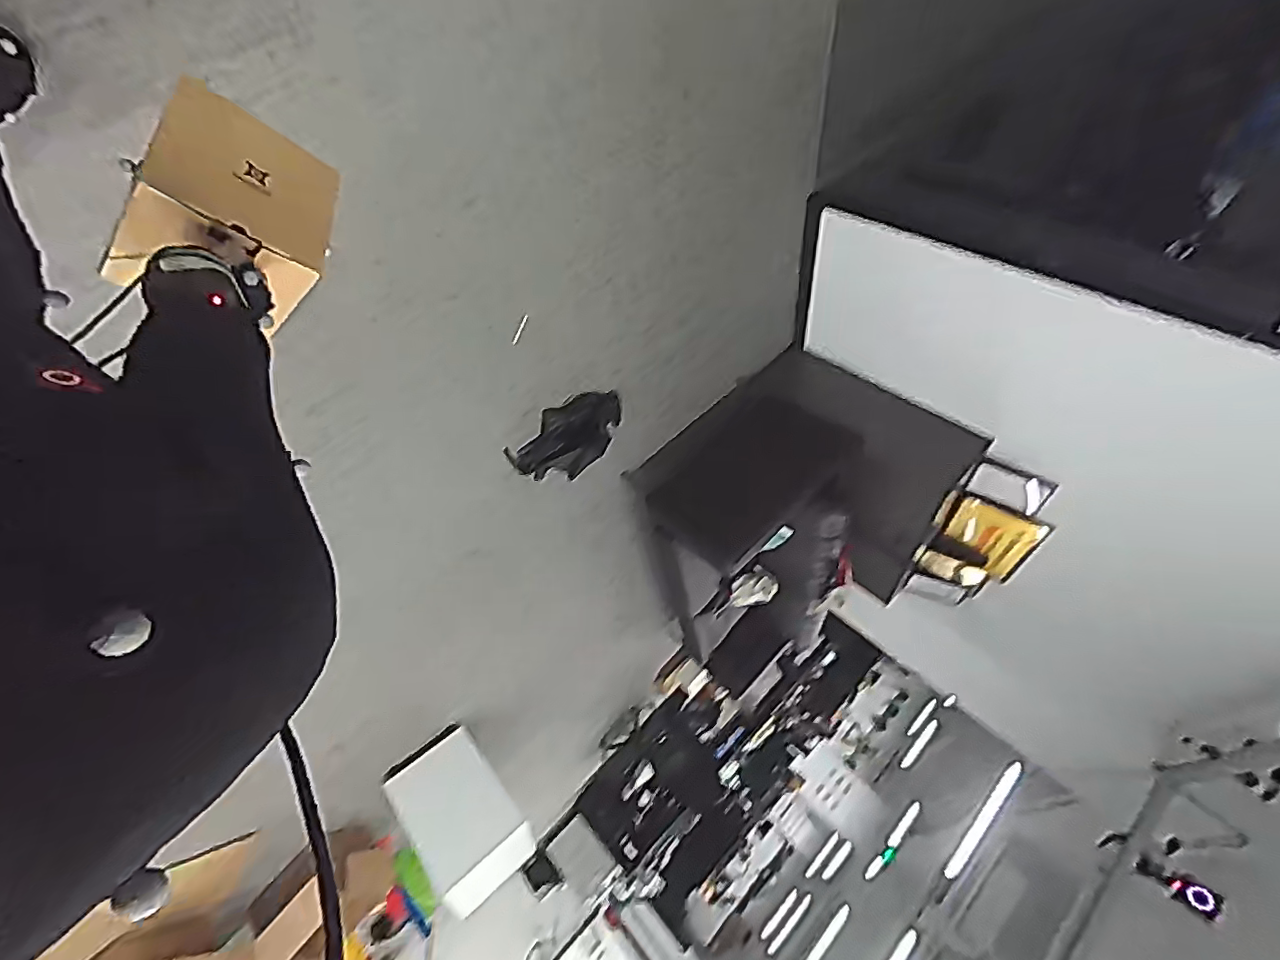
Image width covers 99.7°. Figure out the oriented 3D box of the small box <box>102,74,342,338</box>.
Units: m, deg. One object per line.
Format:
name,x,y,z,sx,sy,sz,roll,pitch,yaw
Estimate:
small box,-0.483,-0.304,0.634,0.176,0.179,0.168,-22,151,33
